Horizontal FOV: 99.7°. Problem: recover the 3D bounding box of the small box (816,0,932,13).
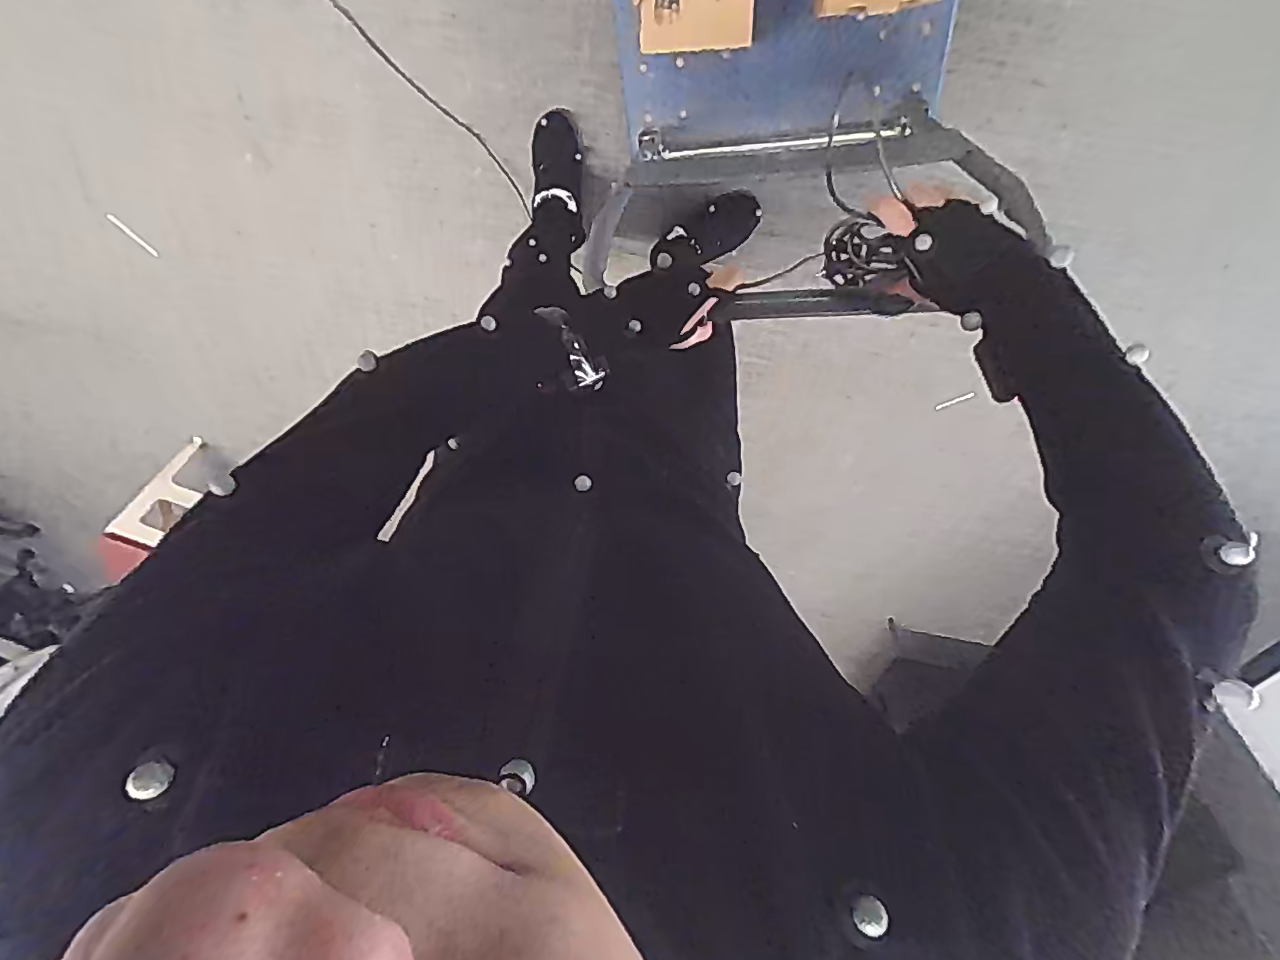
[{"bbox_3d":[0.356,-0.809,0.792,0.168,0.176,0.179,2,131,10],"label":"small box"}]
